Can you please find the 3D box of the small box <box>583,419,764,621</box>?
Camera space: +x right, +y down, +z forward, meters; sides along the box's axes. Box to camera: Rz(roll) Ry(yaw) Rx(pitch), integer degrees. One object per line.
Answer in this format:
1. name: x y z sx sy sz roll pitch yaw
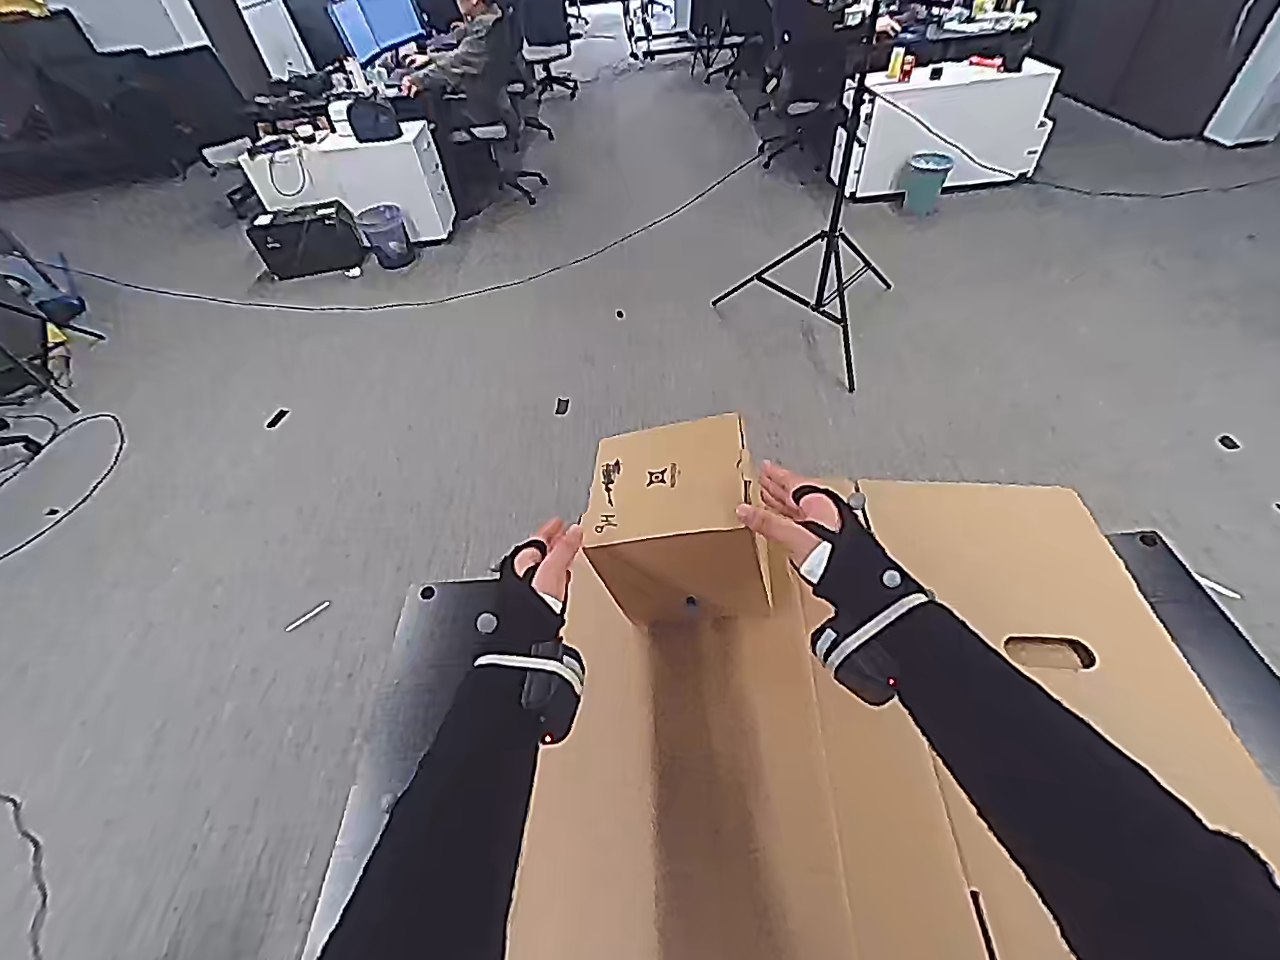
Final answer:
1. small box: 0.052 0.054 0.647 0.179 0.176 0.168 -8 46 15
